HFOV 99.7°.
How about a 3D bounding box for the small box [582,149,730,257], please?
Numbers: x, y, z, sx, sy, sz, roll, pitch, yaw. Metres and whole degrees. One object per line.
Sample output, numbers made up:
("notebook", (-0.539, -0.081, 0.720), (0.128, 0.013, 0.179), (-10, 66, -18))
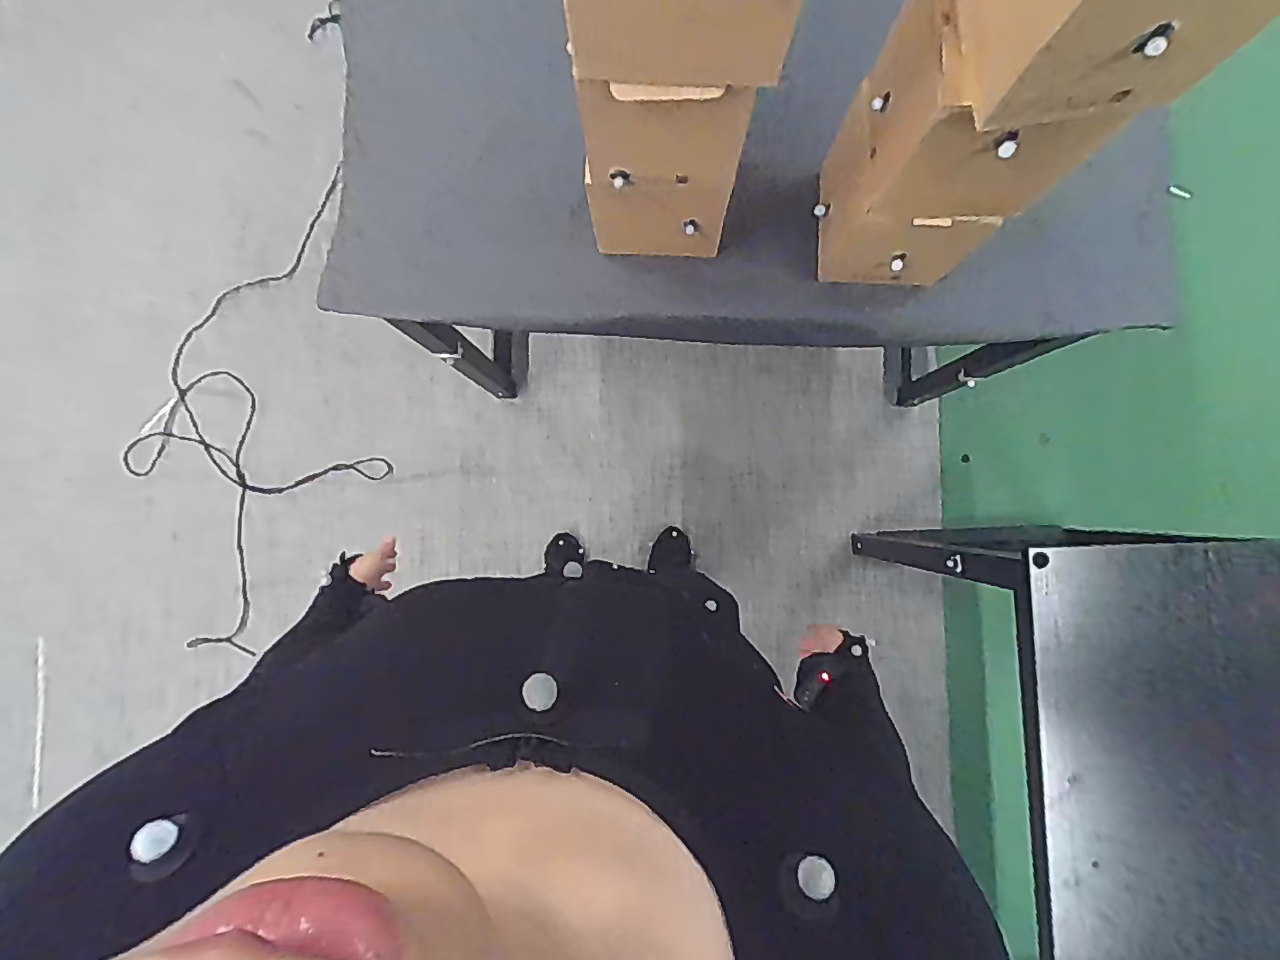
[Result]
("small box", (0.024, -0.413, 0.717), (0.179, 0.176, 0.168), (2, 85, 3))

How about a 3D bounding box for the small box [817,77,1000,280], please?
("small box", (0.337, -0.376, 0.702), (0.168, 0.176, 0.179), (2, 86, 3))

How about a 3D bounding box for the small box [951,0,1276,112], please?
("small box", (0.342, -0.392, 0.374), (0.168, 0.176, 0.179), (-8, 85, 2))

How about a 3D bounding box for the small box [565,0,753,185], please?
("small box", (0.019, -0.427, 0.553), (0.168, 0.176, 0.179), (-2, 84, 1))

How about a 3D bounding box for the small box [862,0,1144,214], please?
("small box", (0.340, -0.388, 0.539), (0.179, 0.176, 0.168), (0, 86, 3))
